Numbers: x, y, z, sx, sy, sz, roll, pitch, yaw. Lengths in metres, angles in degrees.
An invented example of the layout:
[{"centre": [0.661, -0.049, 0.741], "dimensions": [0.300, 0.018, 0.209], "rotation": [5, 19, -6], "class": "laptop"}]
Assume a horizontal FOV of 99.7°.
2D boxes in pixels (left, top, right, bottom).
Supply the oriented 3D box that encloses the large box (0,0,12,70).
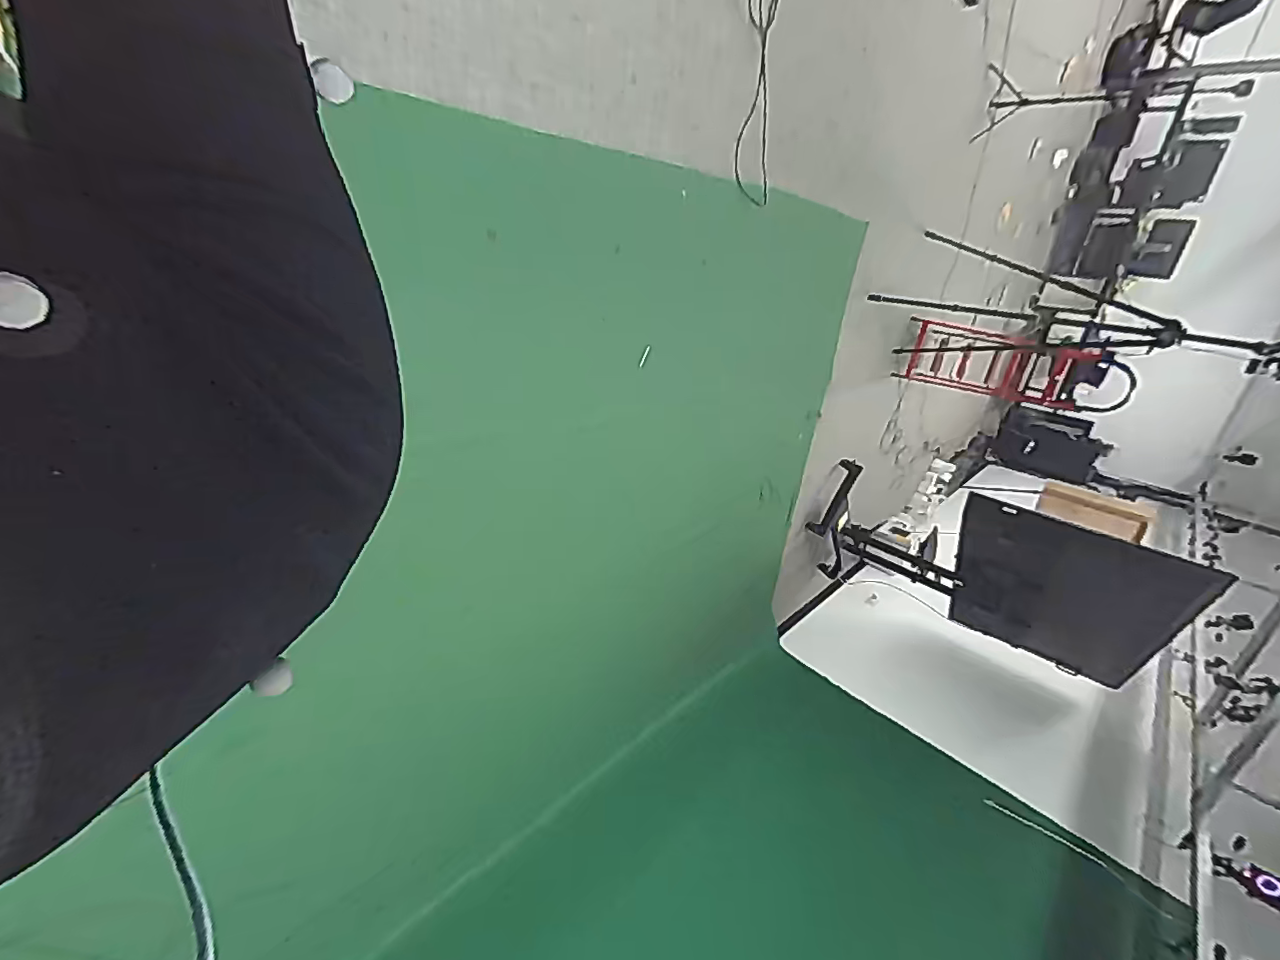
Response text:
[{"centre": [-1.041, -0.710, 0.596], "dimensions": [0.408, 0.320, 0.320], "rotation": [-16, 123, -45], "class": "large box"}]
